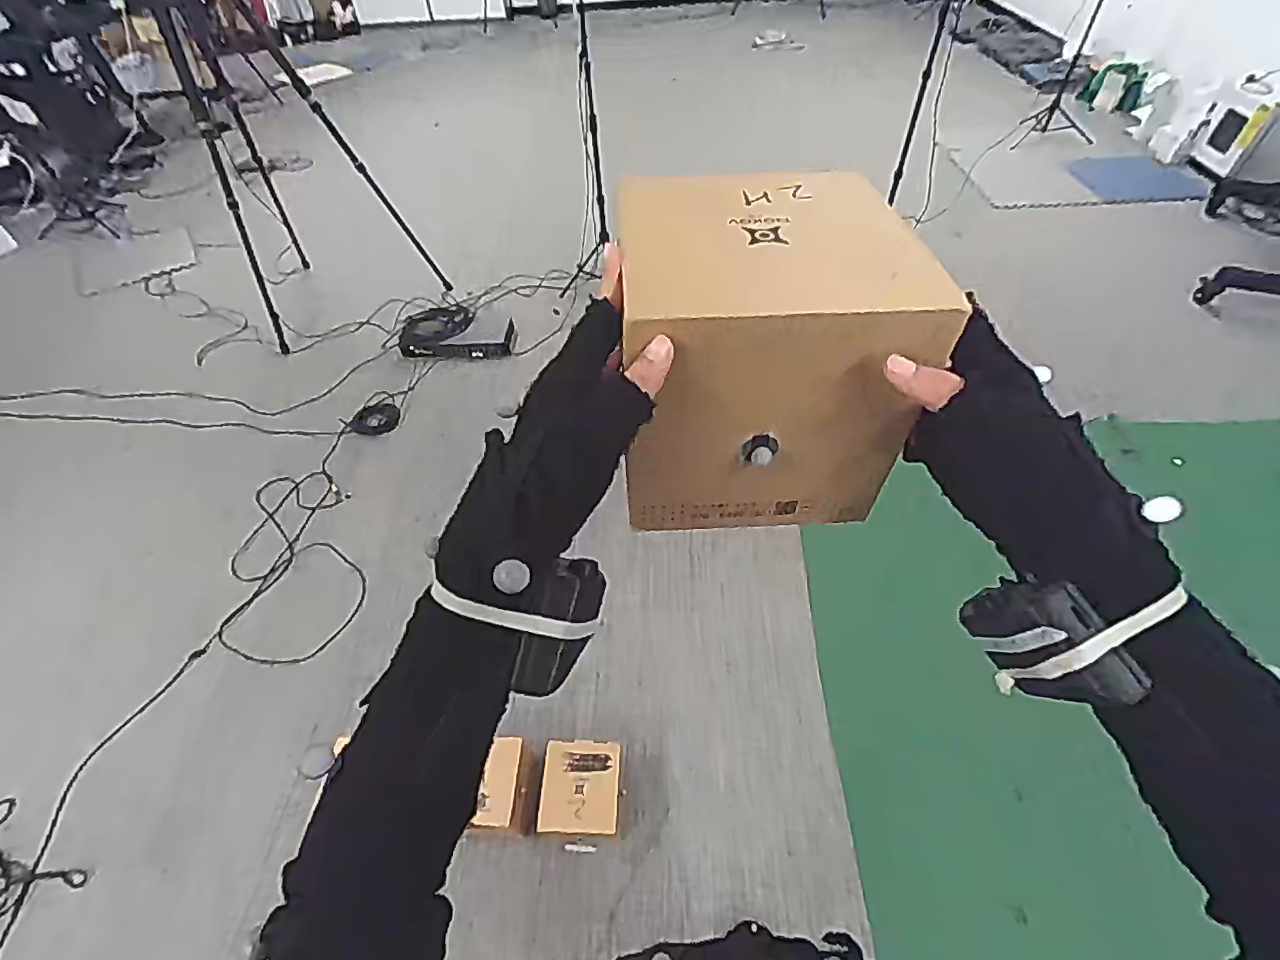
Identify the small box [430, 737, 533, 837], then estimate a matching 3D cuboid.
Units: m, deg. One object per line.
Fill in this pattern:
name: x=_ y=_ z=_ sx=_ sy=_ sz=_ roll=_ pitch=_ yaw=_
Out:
small box: x=-0.351 y=0.703 z=1.236 sx=0.168 sy=0.176 sz=0.179 roll=-2 pitch=49 yaw=4
